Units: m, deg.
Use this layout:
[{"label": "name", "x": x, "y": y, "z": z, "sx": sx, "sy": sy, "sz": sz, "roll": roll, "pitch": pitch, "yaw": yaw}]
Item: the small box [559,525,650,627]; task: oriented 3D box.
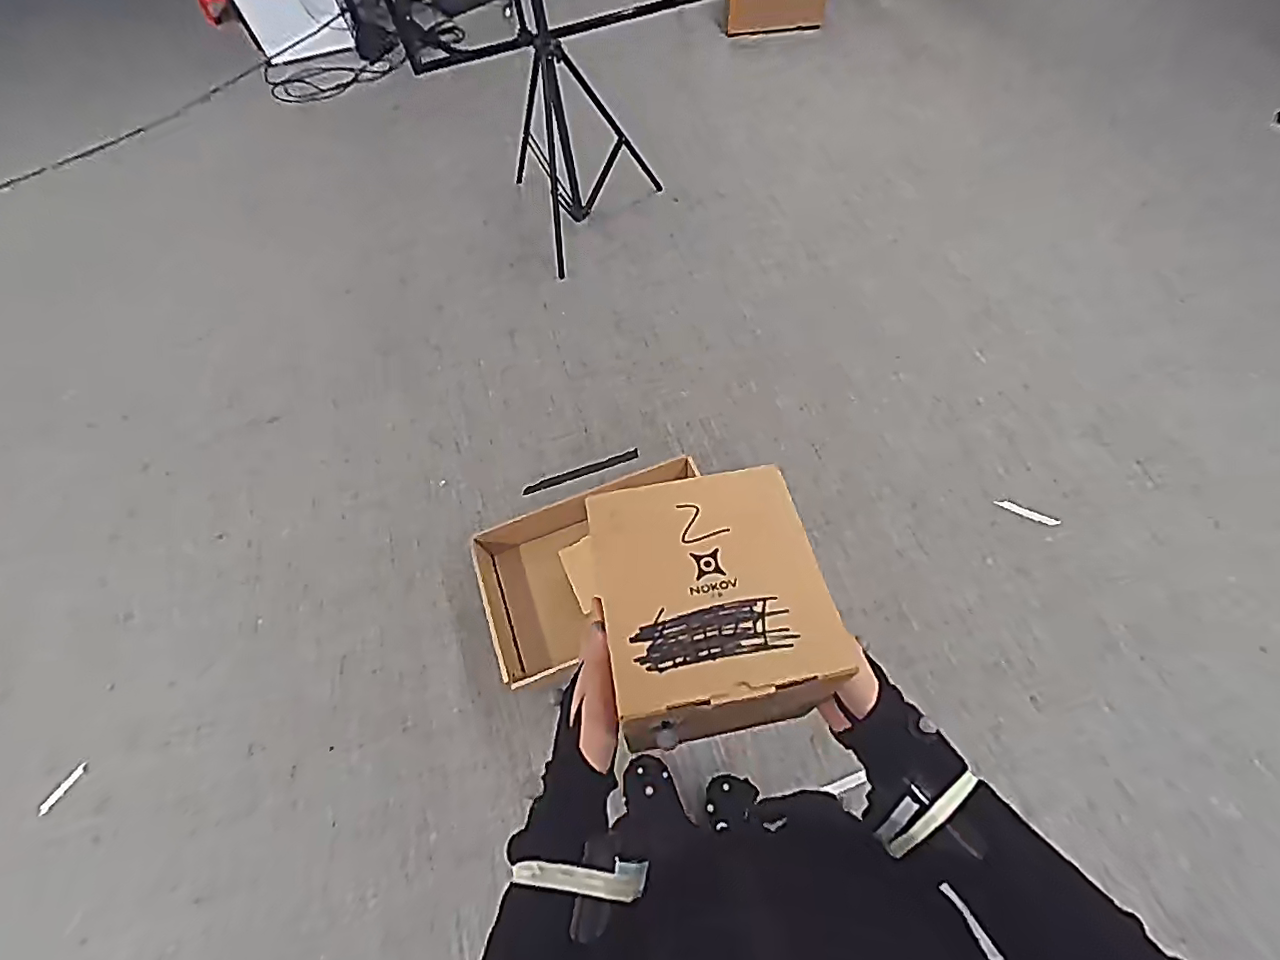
[{"label": "small box", "x": -0.086, "y": 0.248, "z": 1.366, "sx": 0.168, "sy": 0.176, "sz": 0.179, "roll": -26, "pitch": 65, "yaw": -7}]
